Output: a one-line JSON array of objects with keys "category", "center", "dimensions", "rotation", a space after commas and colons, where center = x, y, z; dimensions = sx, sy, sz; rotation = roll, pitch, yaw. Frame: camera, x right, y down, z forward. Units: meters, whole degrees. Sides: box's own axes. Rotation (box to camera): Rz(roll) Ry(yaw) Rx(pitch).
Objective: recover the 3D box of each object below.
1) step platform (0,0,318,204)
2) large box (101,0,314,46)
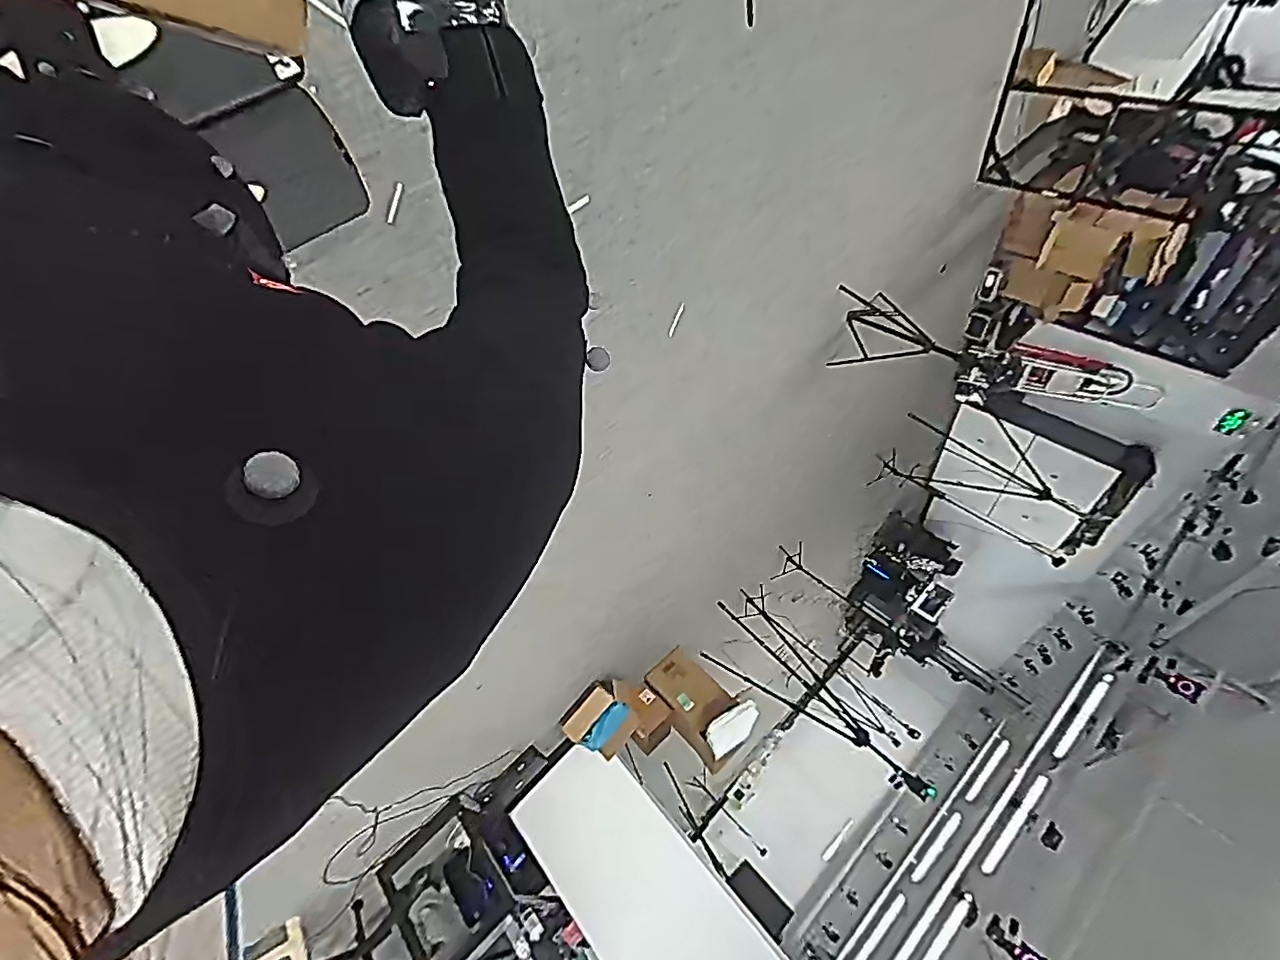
[{"category": "step platform", "center": [-0.944, -0.766, 0.932], "dimensions": [0.684, 0.204, 0.286], "rotation": [-42, 145, -18]}, {"category": "large box", "center": [-0.405, -0.450, 0.243], "dimensions": [0.408, 0.320, 0.320], "rotation": [-6, 126, -34]}]
